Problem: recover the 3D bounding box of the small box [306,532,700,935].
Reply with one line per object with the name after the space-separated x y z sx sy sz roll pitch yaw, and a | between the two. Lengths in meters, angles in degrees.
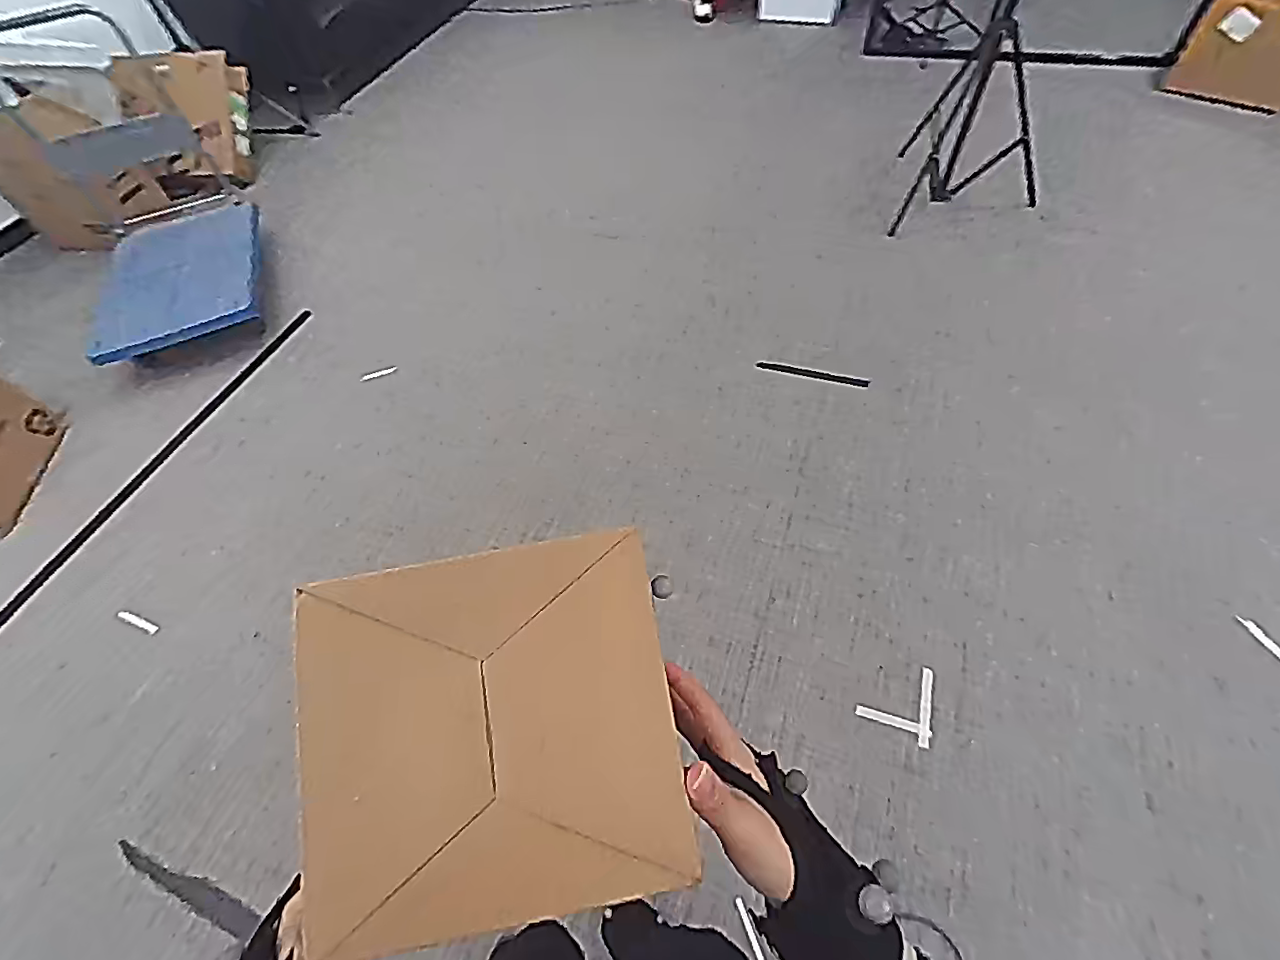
-0.068 0.132 0.334 0.179 0.176 0.168 -9 77 -4 | small box
